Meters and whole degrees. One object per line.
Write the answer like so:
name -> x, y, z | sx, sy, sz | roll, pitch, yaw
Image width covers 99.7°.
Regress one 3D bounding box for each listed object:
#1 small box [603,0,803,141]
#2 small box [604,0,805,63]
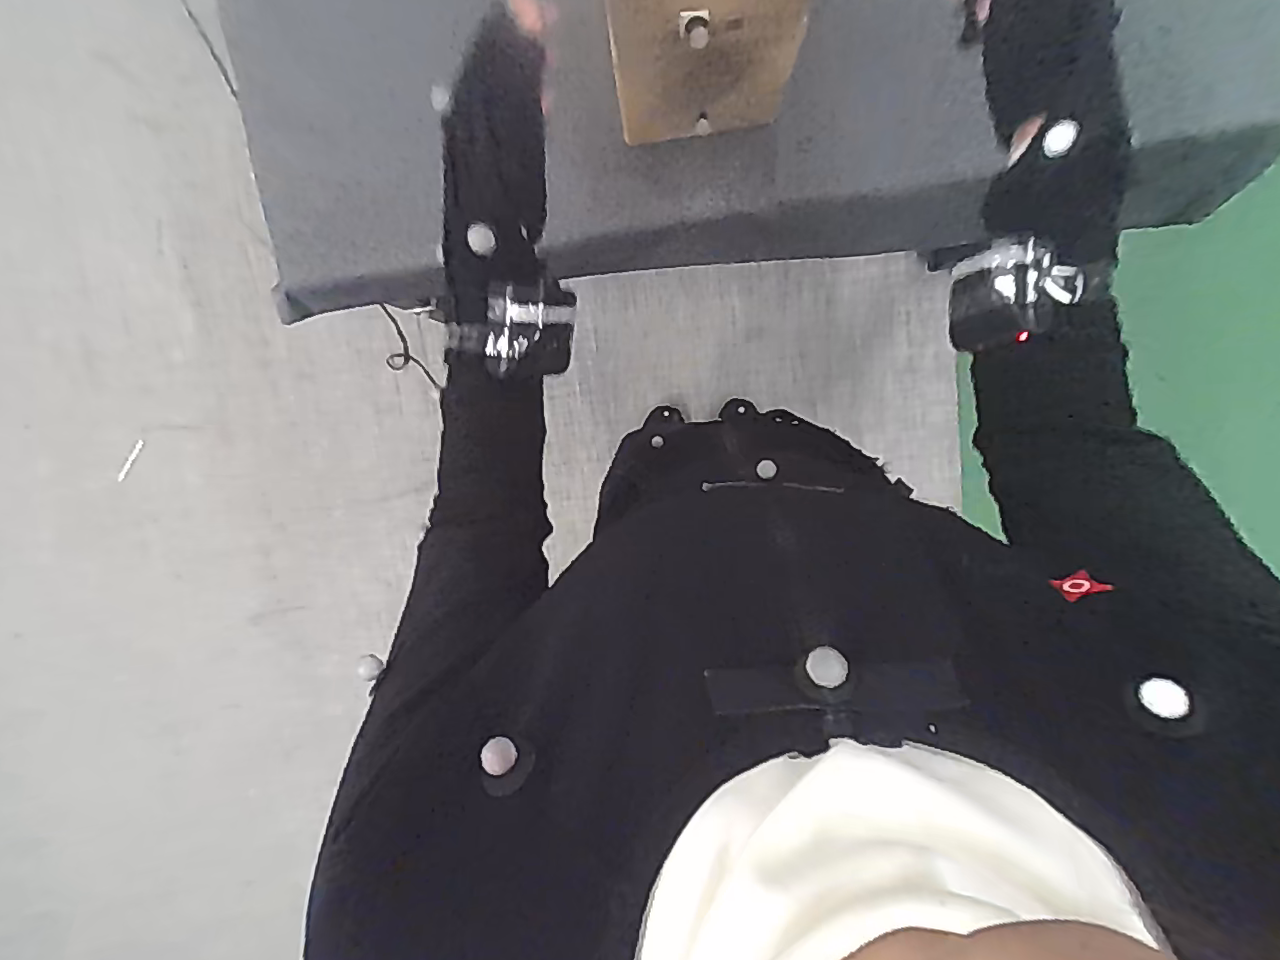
small box -> 0.053, -0.479, 0.549 | 0.179, 0.176, 0.168 | -7, 97, 4
small box -> 0.041, -0.455, 0.389 | 0.168, 0.176, 0.179 | -7, 99, 7
